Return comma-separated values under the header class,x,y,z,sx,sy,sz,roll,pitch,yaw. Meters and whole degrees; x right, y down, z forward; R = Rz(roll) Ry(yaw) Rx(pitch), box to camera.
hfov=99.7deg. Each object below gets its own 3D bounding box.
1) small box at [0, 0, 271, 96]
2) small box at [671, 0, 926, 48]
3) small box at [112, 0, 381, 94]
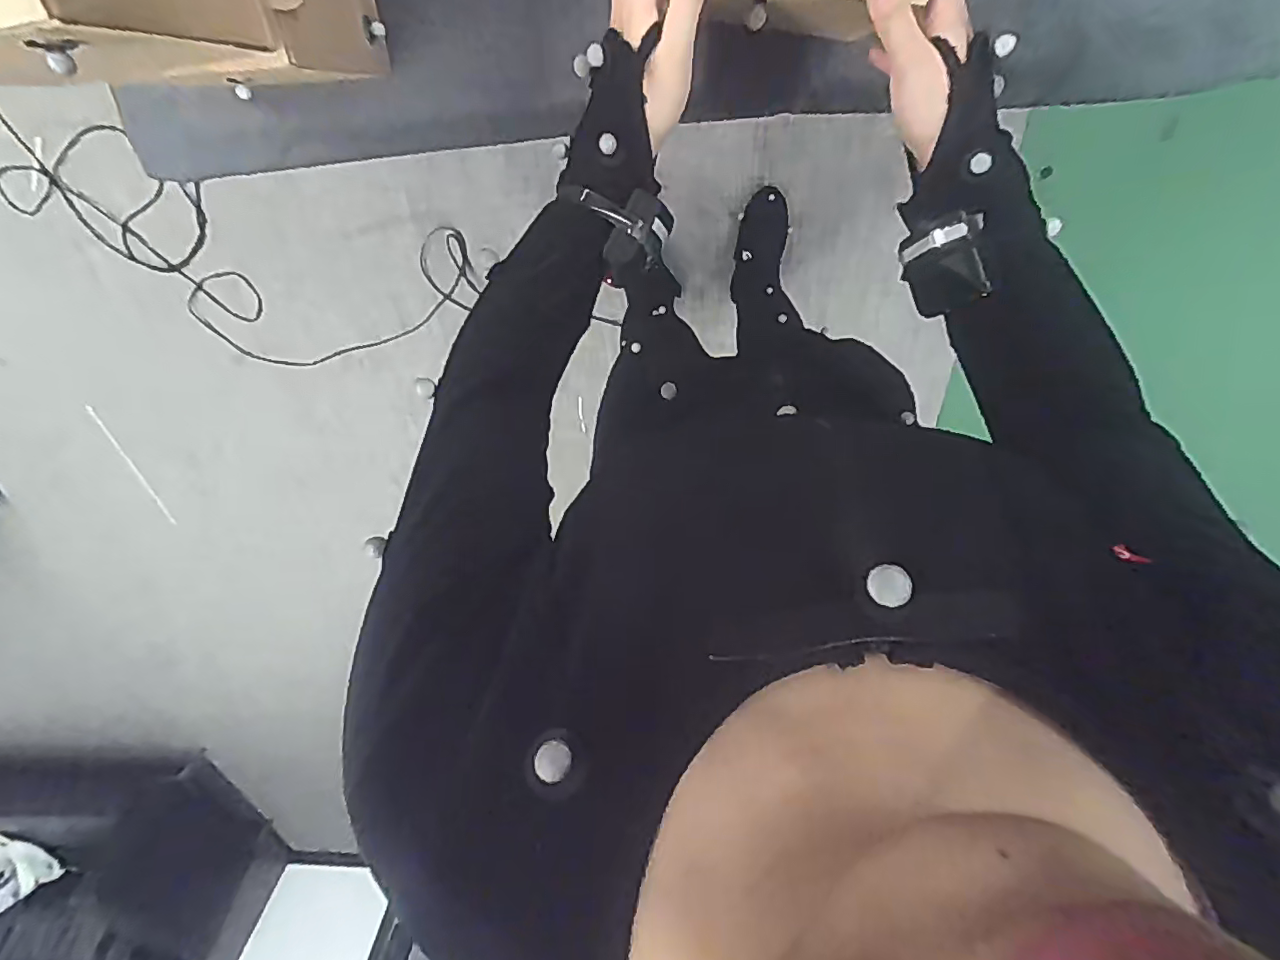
class,x,y,z,sx,sy,sz,roll,pitch,yaw
small box,-0.359,-0.318,0.291,0.179,0.176,0.168,-4,124,7
small box,0.114,-0.422,0.376,0.179,0.176,0.168,8,124,1
small box,-0.331,-0.408,0.424,0.179,0.176,0.168,1,125,5
